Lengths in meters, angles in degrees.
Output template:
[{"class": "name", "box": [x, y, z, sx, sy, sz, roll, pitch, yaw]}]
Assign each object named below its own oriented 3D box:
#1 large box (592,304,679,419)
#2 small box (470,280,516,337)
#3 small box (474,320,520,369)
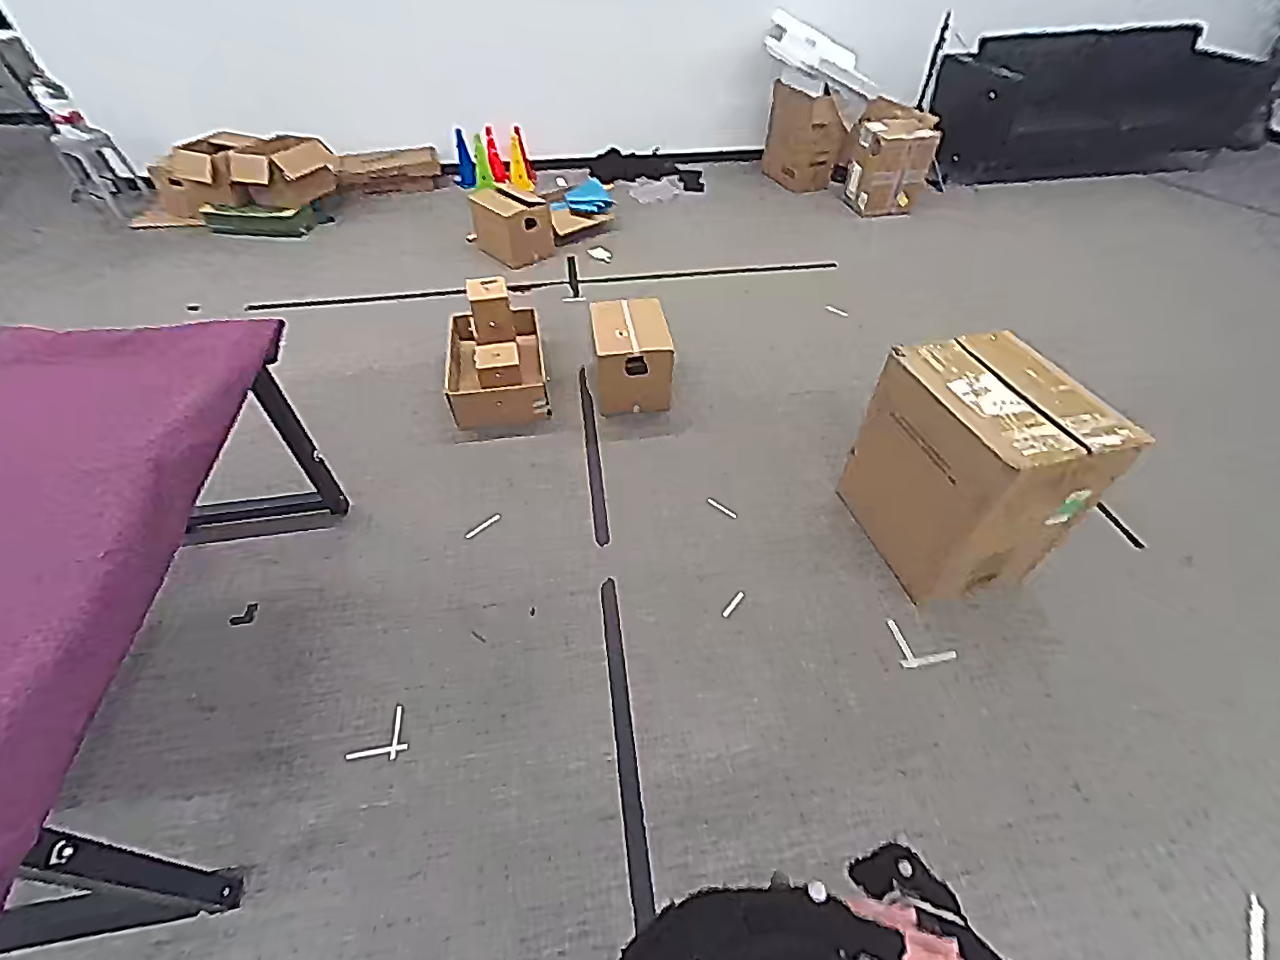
[{"class": "large box", "box": [-0.031, -0.524, 2.363, 0.320, 0.320, 0.408, -7, 48, -6]}, {"class": "small box", "box": [-0.645, -0.752, 2.369, 0.168, 0.176, 0.179, -11, 50, -11]}, {"class": "small box", "box": [-0.653, -0.632, 2.483, 0.179, 0.176, 0.168, -14, 50, -14]}]
